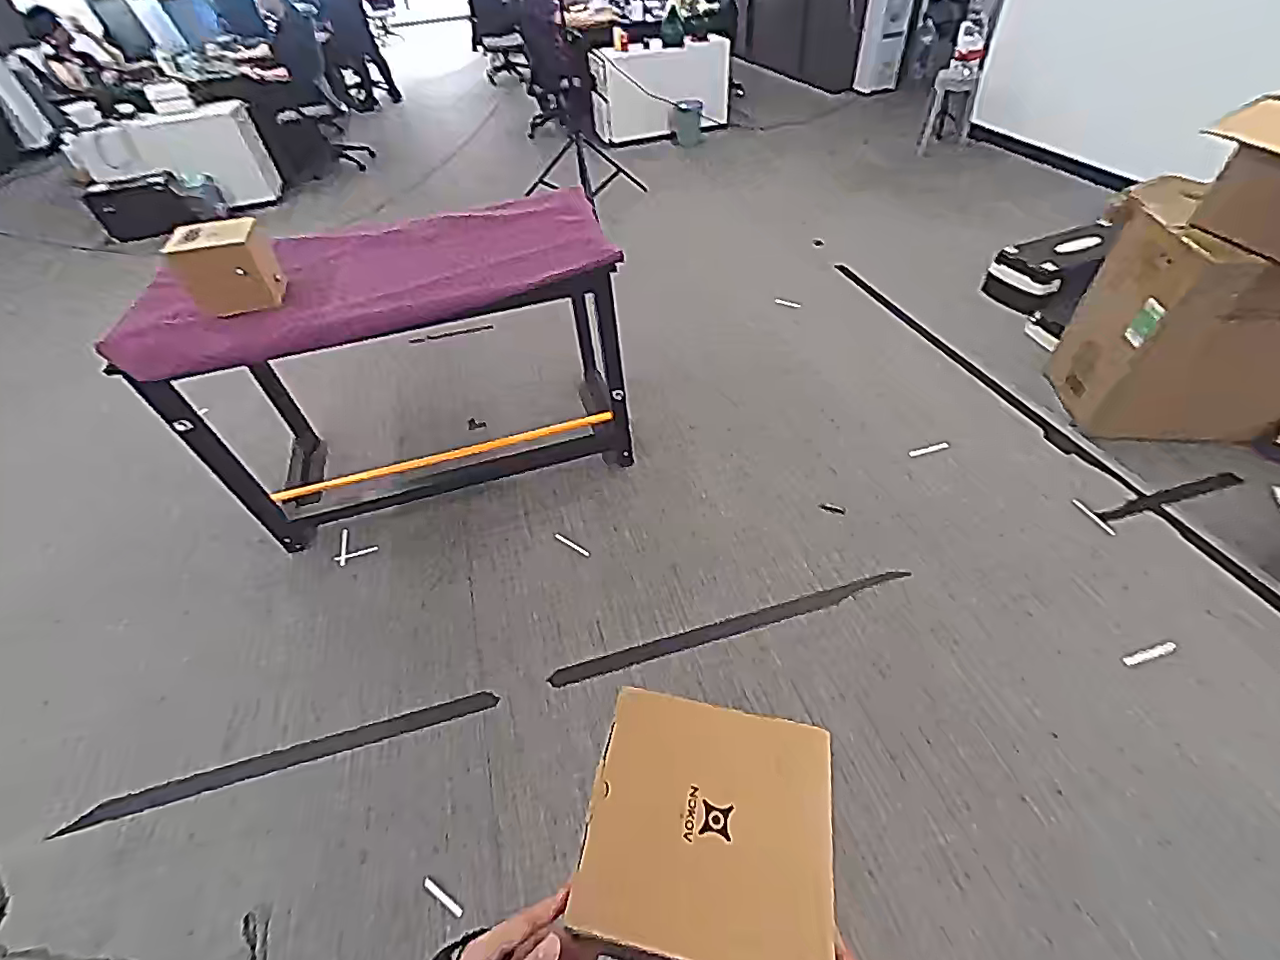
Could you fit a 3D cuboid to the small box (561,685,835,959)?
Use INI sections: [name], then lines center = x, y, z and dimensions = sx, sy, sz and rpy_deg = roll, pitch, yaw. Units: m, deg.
[small box]
center = 0.051, 0.297, 0.448
dimensions = 0.179, 0.176, 0.168
rpy_deg = 8, 46, 9
